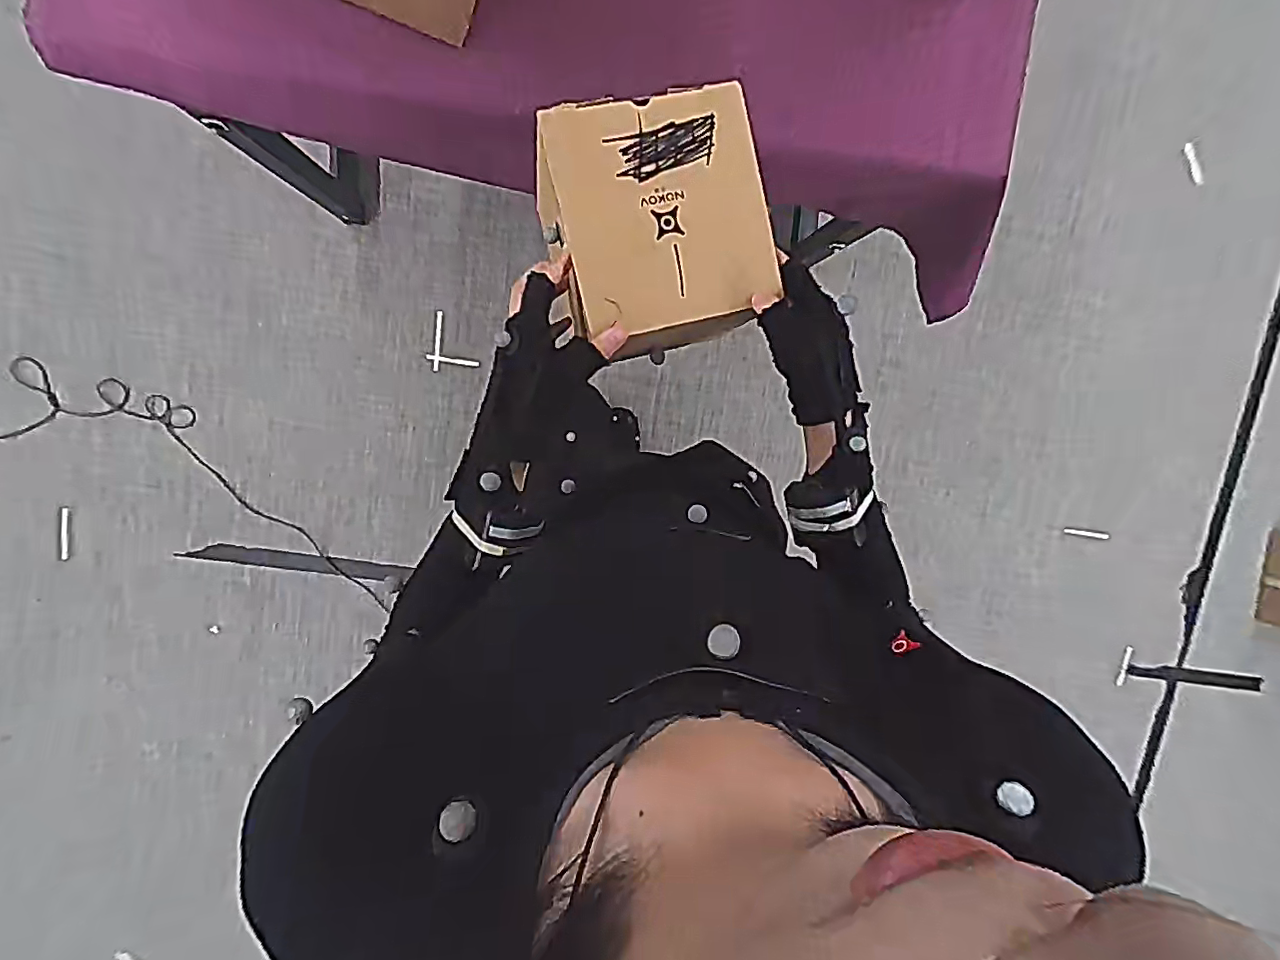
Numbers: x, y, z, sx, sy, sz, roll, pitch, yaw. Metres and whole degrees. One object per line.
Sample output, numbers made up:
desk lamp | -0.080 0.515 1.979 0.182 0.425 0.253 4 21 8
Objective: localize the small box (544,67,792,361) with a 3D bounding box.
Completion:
small box | 0.011 -0.221 0.491 0.168 0.176 0.179 -15 97 -8
